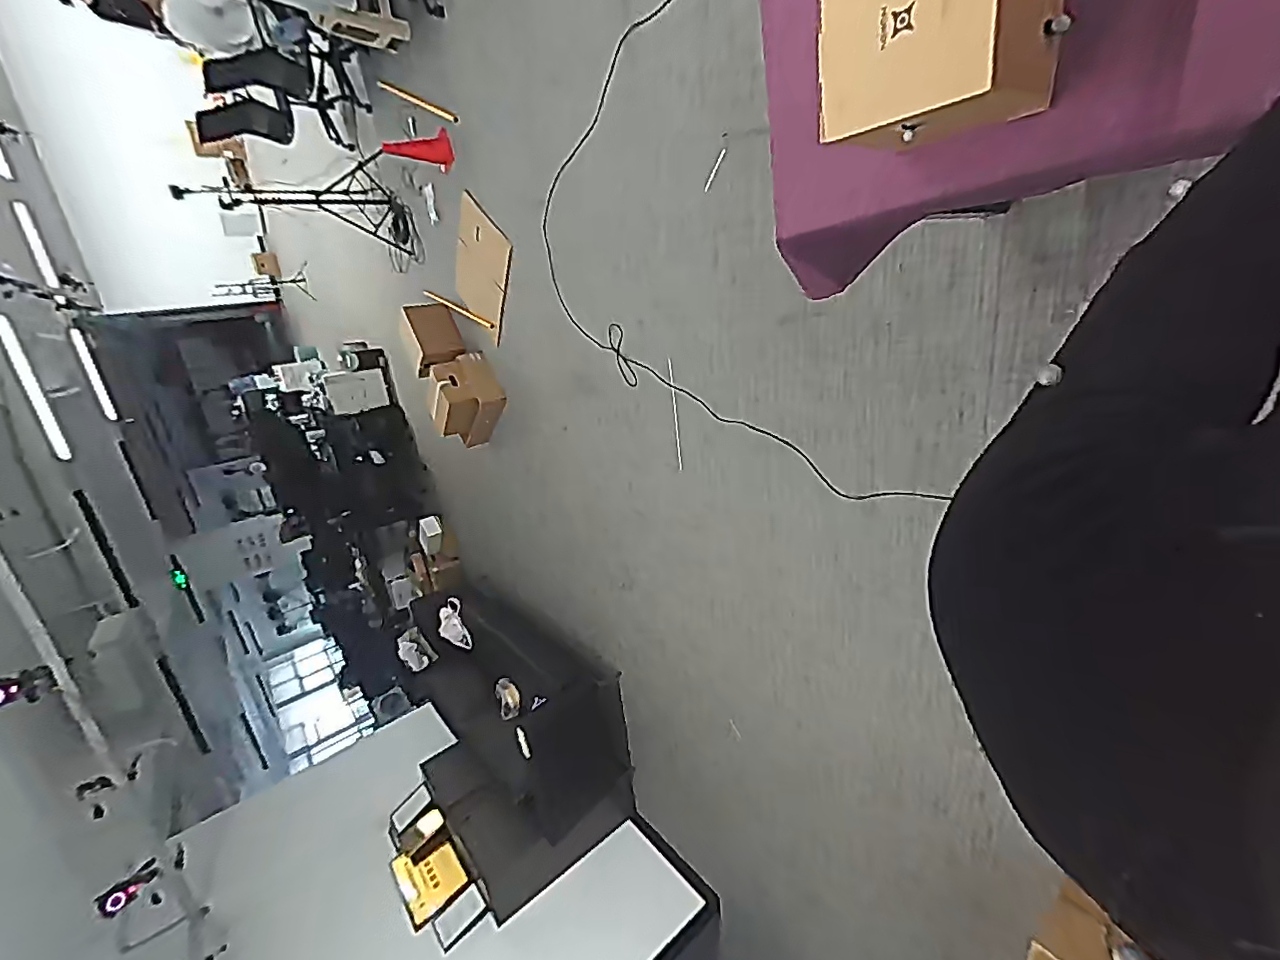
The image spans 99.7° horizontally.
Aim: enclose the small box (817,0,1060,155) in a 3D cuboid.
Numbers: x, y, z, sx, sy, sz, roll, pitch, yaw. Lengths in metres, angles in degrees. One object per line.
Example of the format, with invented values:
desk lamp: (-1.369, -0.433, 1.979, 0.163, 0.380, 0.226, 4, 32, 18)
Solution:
small box: (0.311, -0.460, 0.574, 0.179, 0.176, 0.168, 16, 120, 48)
